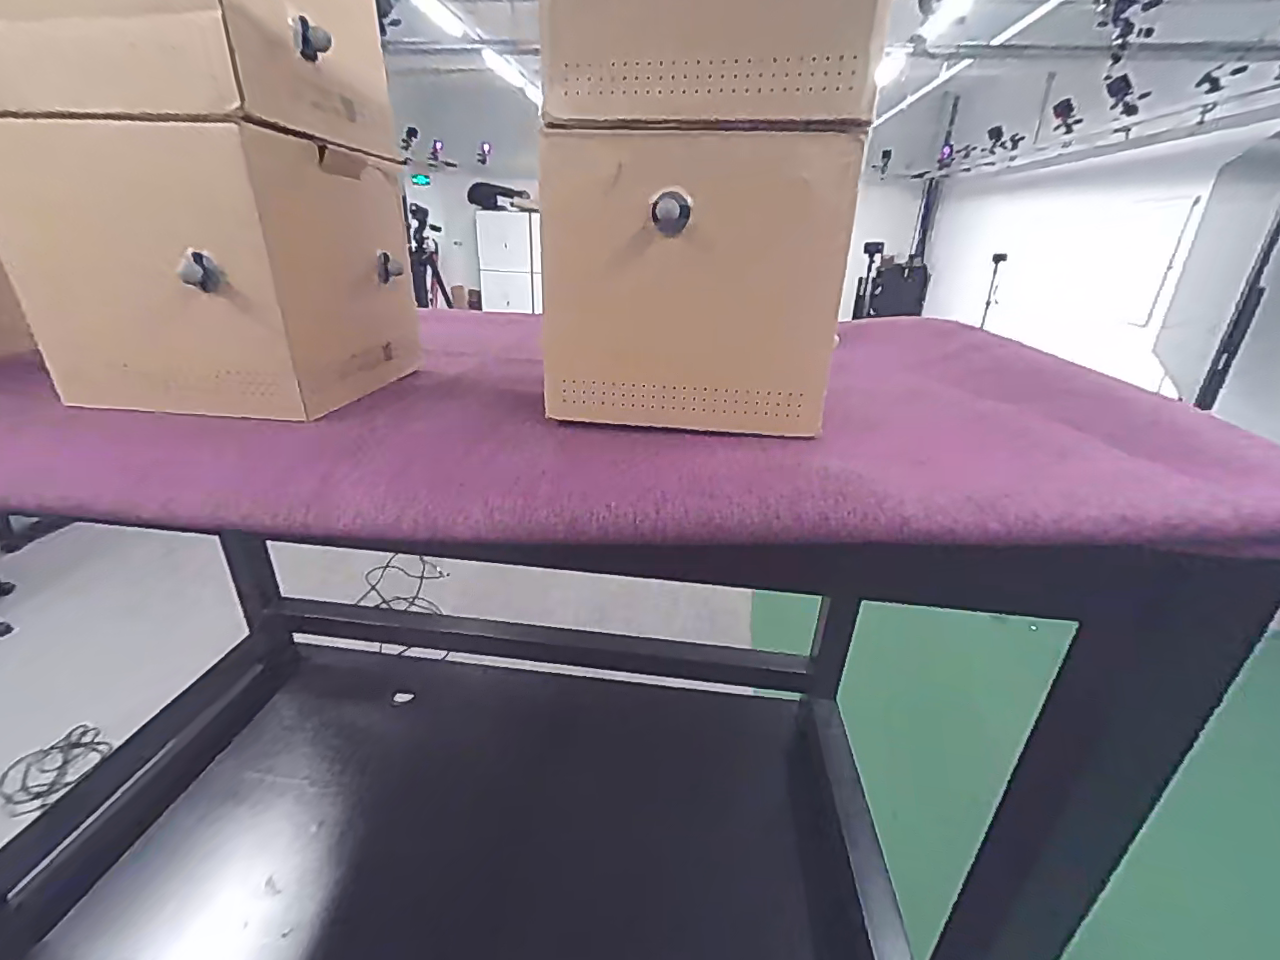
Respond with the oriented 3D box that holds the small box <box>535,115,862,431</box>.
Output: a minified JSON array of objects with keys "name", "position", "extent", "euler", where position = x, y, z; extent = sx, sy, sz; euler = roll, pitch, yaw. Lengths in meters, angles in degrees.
[{"name":"small box","position":[0.037,-0.138,0.383],"extent":[0.179,0.176,0.168],"euler":[5,22,7]}]

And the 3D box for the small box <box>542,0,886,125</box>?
[{"name":"small box","position":[0.045,-0.290,0.322],"extent":[0.179,0.176,0.168],"euler":[4,23,8]}]

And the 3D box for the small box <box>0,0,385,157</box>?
[{"name":"small box","position":[-0.284,-0.297,0.325],"extent":[0.179,0.176,0.168],"euler":[3,24,2]}]

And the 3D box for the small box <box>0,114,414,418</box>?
[{"name":"small box","position":[-0.287,-0.147,0.390],"extent":[0.179,0.176,0.168],"euler":[3,24,4]}]
